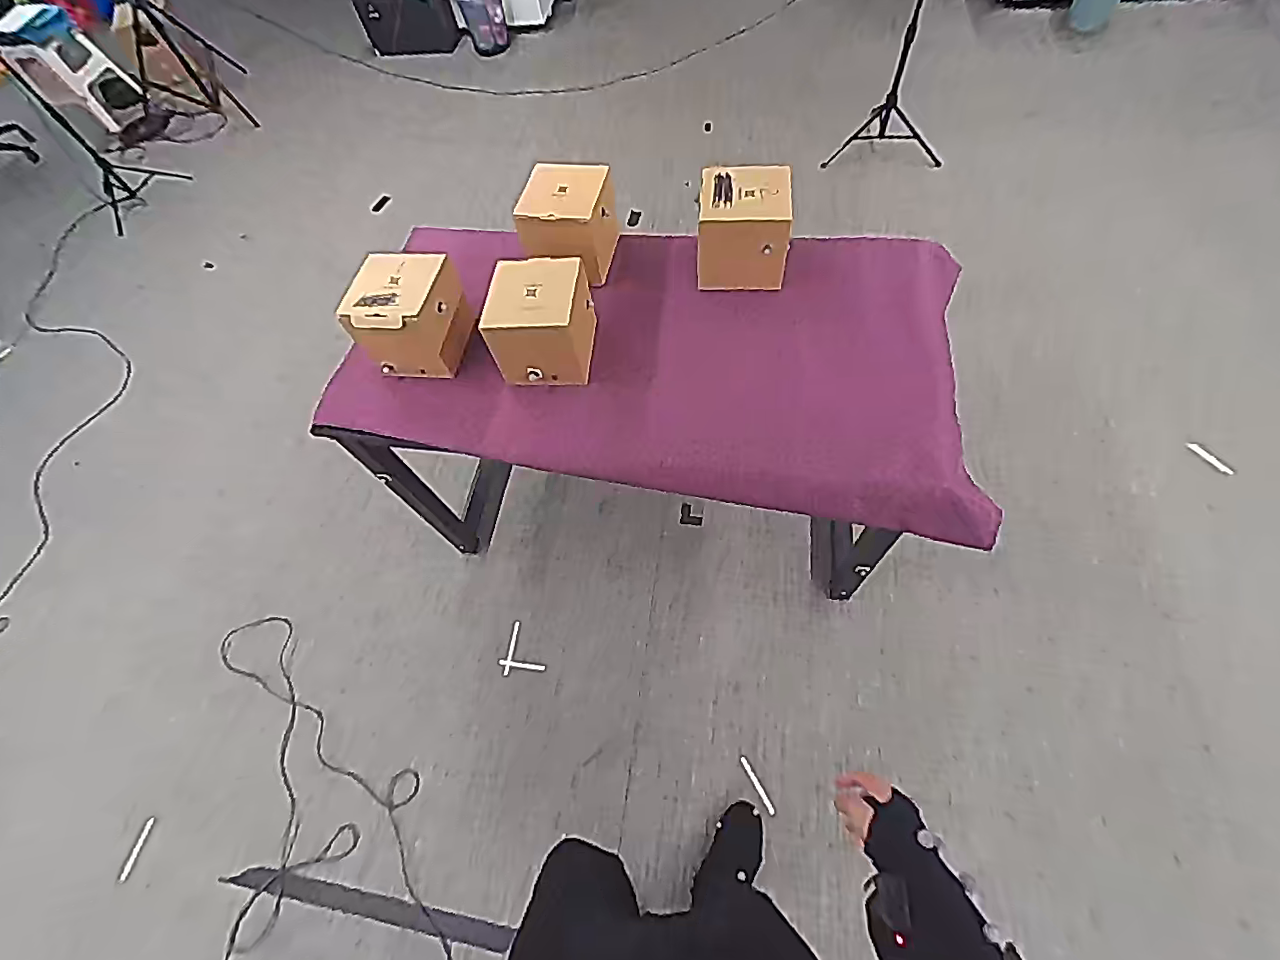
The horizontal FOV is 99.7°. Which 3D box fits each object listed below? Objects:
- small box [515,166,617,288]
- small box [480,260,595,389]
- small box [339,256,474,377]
[{"bbox_3d":[-0.150,-0.548,1.175,0.168,0.176,0.179,8,63,10],"label":"small box"},{"bbox_3d":[-0.187,-0.298,1.048,0.168,0.176,0.179,1,61,8],"label":"small box"},{"bbox_3d":[-0.457,-0.325,1.091,0.168,0.176,0.179,4,61,8],"label":"small box"}]
